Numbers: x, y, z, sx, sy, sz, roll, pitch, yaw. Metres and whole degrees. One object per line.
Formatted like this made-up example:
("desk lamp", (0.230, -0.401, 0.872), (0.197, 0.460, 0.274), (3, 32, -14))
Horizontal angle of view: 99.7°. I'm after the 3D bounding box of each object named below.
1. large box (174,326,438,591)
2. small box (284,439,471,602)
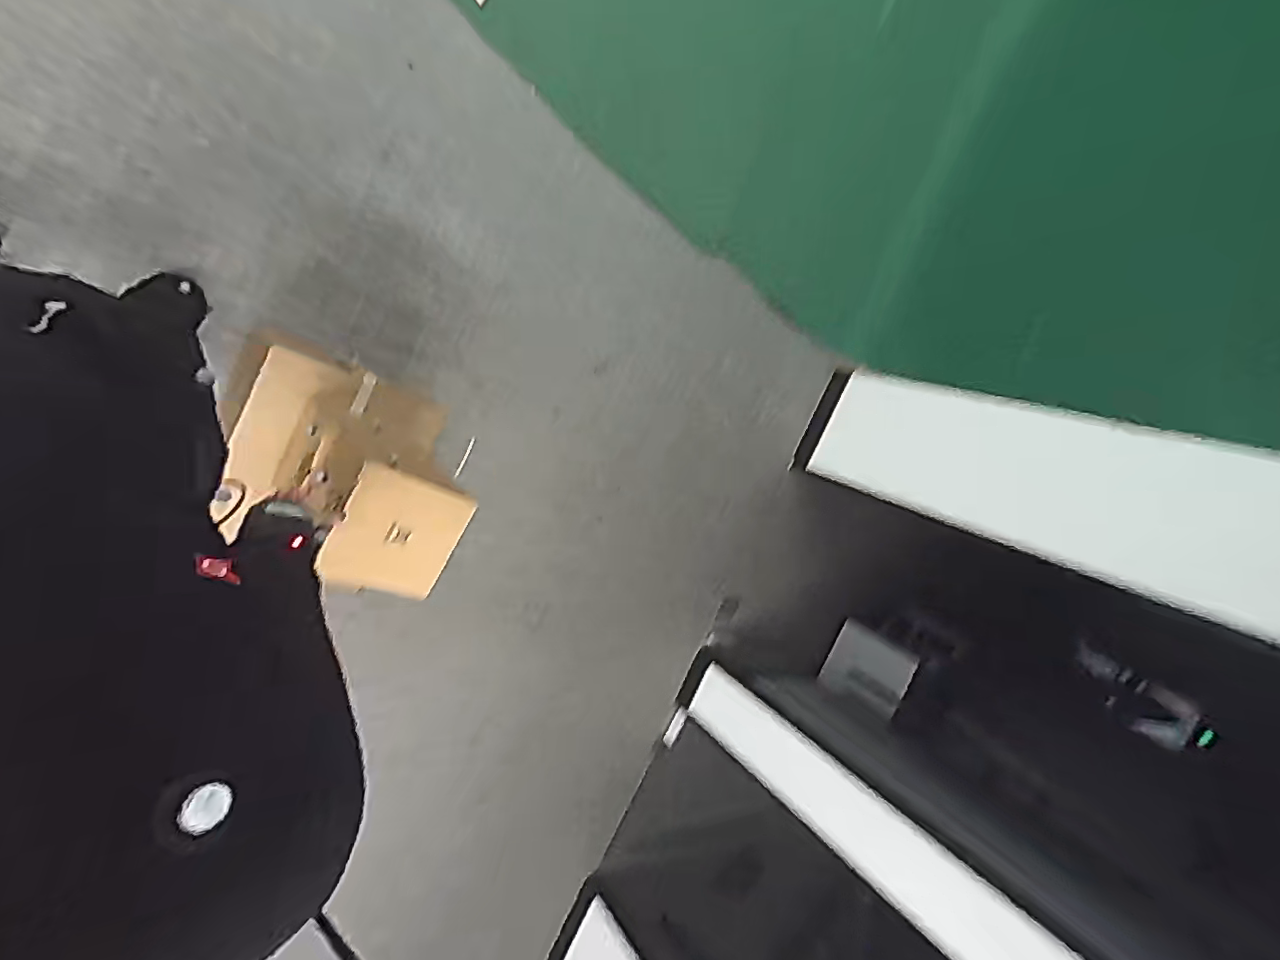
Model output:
("large box", (-0.676, -0.044, 1.091), (0.320, 0.320, 0.408), (23, 94, -43))
("small box", (-0.395, 0.057, 0.810), (0.179, 0.176, 0.168), (31, 88, -44))
